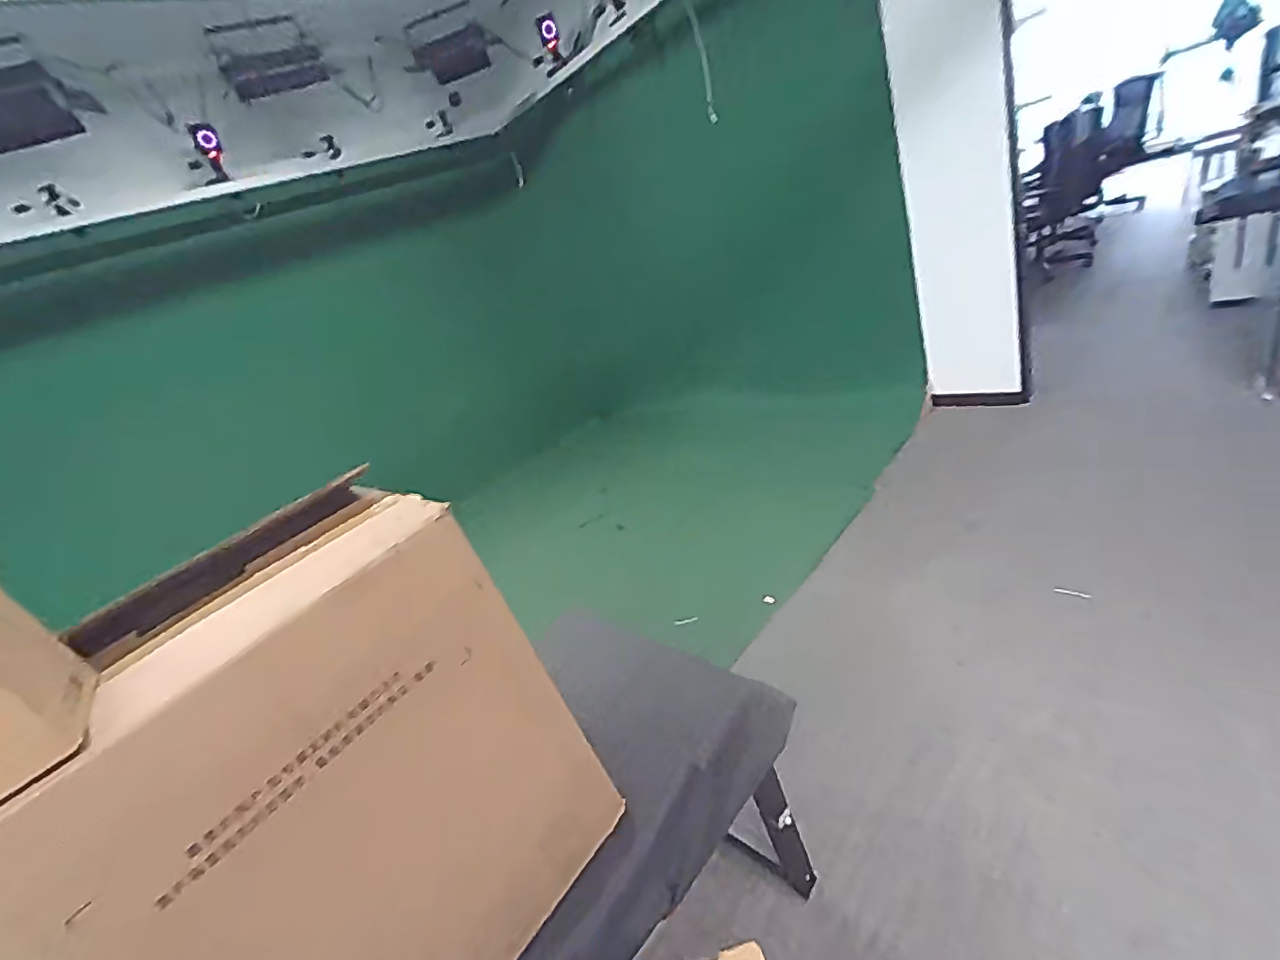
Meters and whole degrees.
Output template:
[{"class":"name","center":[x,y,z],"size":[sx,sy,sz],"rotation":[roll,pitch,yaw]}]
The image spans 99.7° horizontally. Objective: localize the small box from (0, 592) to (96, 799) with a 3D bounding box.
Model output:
[{"class":"small box","center":[-0.605,0.192,0.429],"size":[0.179,0.176,0.168],"rotation":[-39,32,-30]}]
